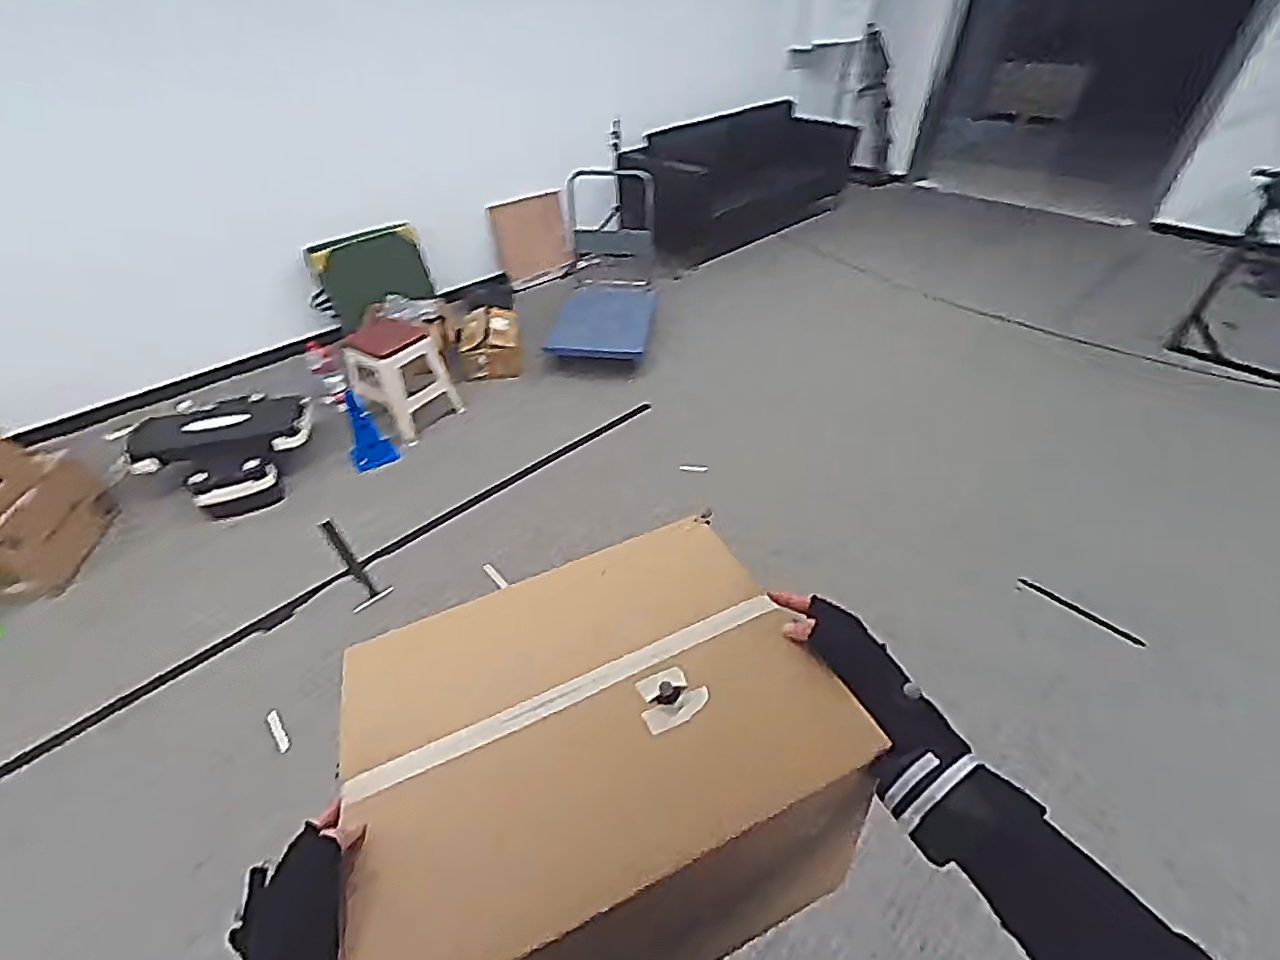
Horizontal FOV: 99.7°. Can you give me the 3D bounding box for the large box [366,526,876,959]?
[{"bbox_3d":[-0.029,0.316,0.586,0.408,0.320,0.320,-19,39,-14],"label":"large box"}]
